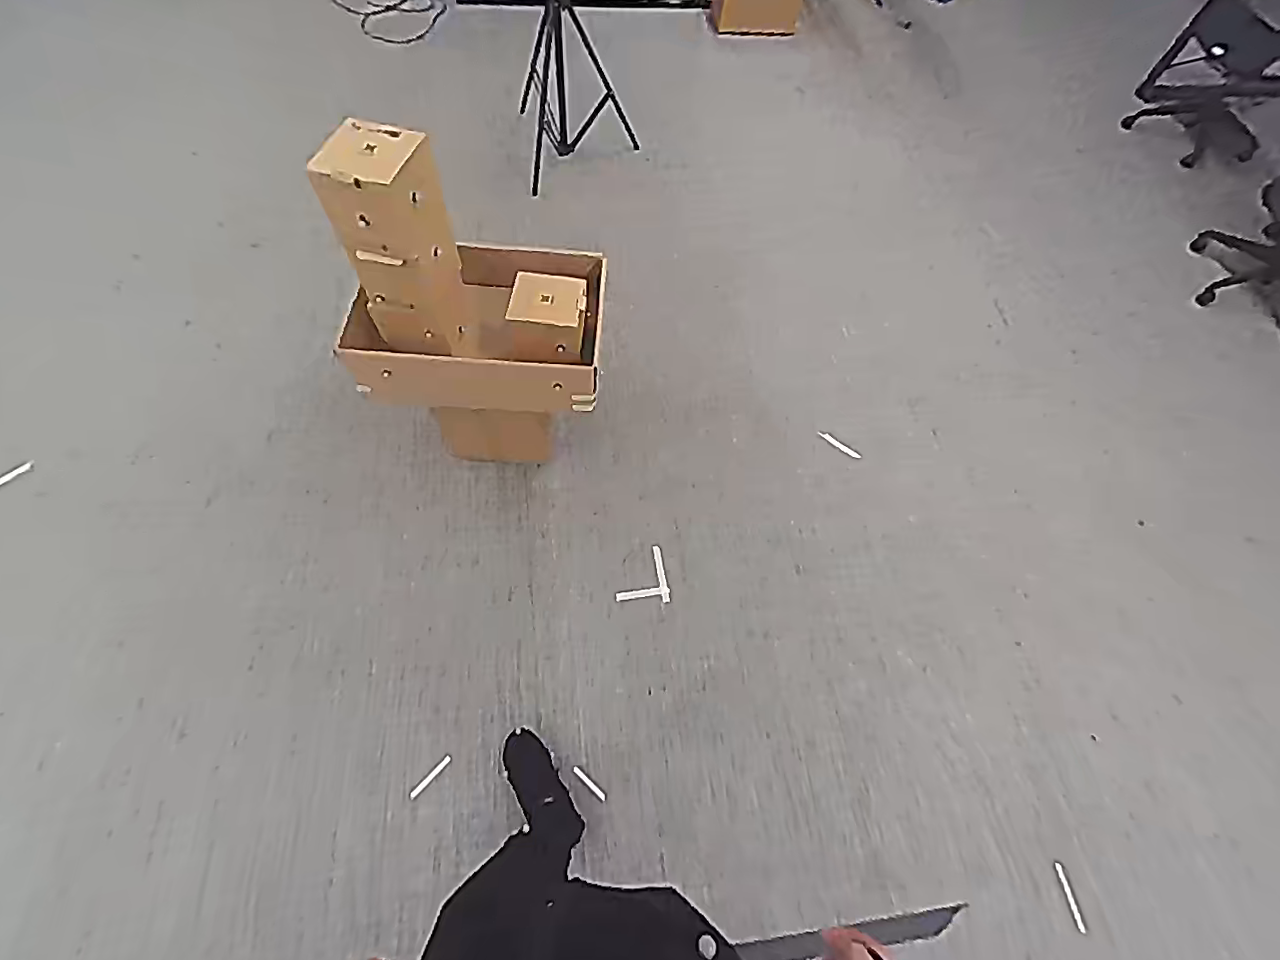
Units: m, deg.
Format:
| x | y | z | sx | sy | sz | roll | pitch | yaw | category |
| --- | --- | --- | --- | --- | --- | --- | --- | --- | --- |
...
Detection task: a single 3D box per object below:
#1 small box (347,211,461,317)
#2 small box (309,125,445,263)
| x | y | z | sx | sy | sz | roll | pitch | yaw | category |
| --- | --- | --- | --- | --- | --- | --- | --- | --- | --- |
| -0.530 | -0.503 | 1.247 | 0.168 | 0.176 | 0.179 | 10 | 61 | 1 | small box |
| -0.518 | -0.574 | 1.099 | 0.168 | 0.176 | 0.179 | 13 | 62 | 2 | small box |
